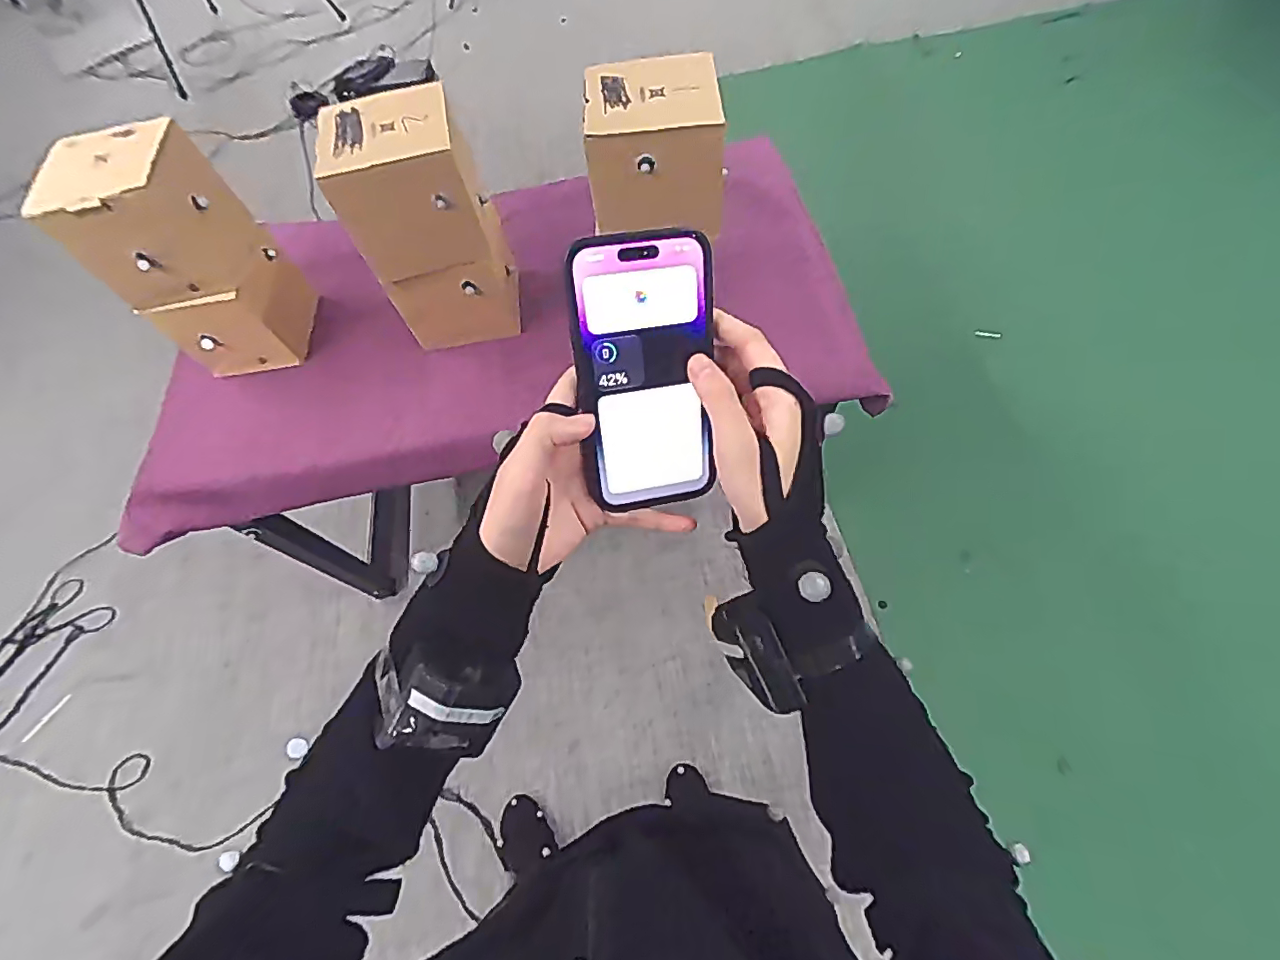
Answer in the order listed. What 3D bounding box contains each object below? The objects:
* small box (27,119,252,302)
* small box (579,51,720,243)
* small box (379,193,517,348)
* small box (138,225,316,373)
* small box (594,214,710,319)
[{"bbox_3d":[-0.720,-0.388,0.804,0.168,0.176,0.179,-13,63,-1],"label":"small box"},{"bbox_3d":[0.018,-0.457,0.759,0.179,0.176,0.168,-4,62,4],"label":"small box"},{"bbox_3d":[-0.314,-0.351,0.925,0.179,0.176,0.168,-9,62,1],"label":"small box"},{"bbox_3d":[-0.702,-0.305,0.945,0.168,0.176,0.179,-9,62,2],"label":"small box"},{"bbox_3d":[0.024,-0.394,0.911,0.179,0.176,0.168,-4,62,5],"label":"small box"}]
